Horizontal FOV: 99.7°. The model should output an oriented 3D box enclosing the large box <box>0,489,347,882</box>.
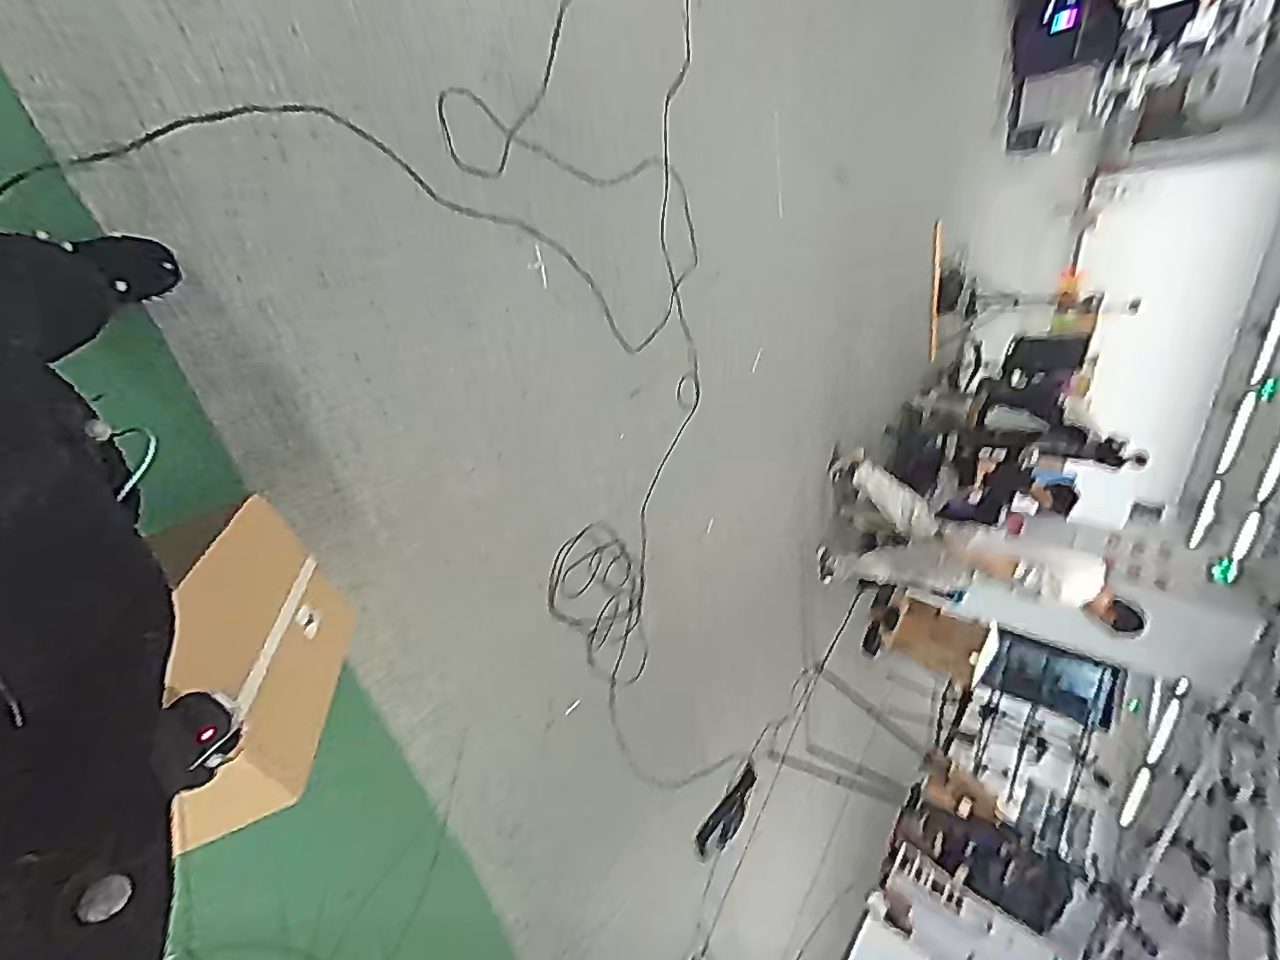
[{"bbox_3d":[-0.716,0.281,0.829,0.320,0.408,0.320,-23,119,-6],"label":"large box"}]
